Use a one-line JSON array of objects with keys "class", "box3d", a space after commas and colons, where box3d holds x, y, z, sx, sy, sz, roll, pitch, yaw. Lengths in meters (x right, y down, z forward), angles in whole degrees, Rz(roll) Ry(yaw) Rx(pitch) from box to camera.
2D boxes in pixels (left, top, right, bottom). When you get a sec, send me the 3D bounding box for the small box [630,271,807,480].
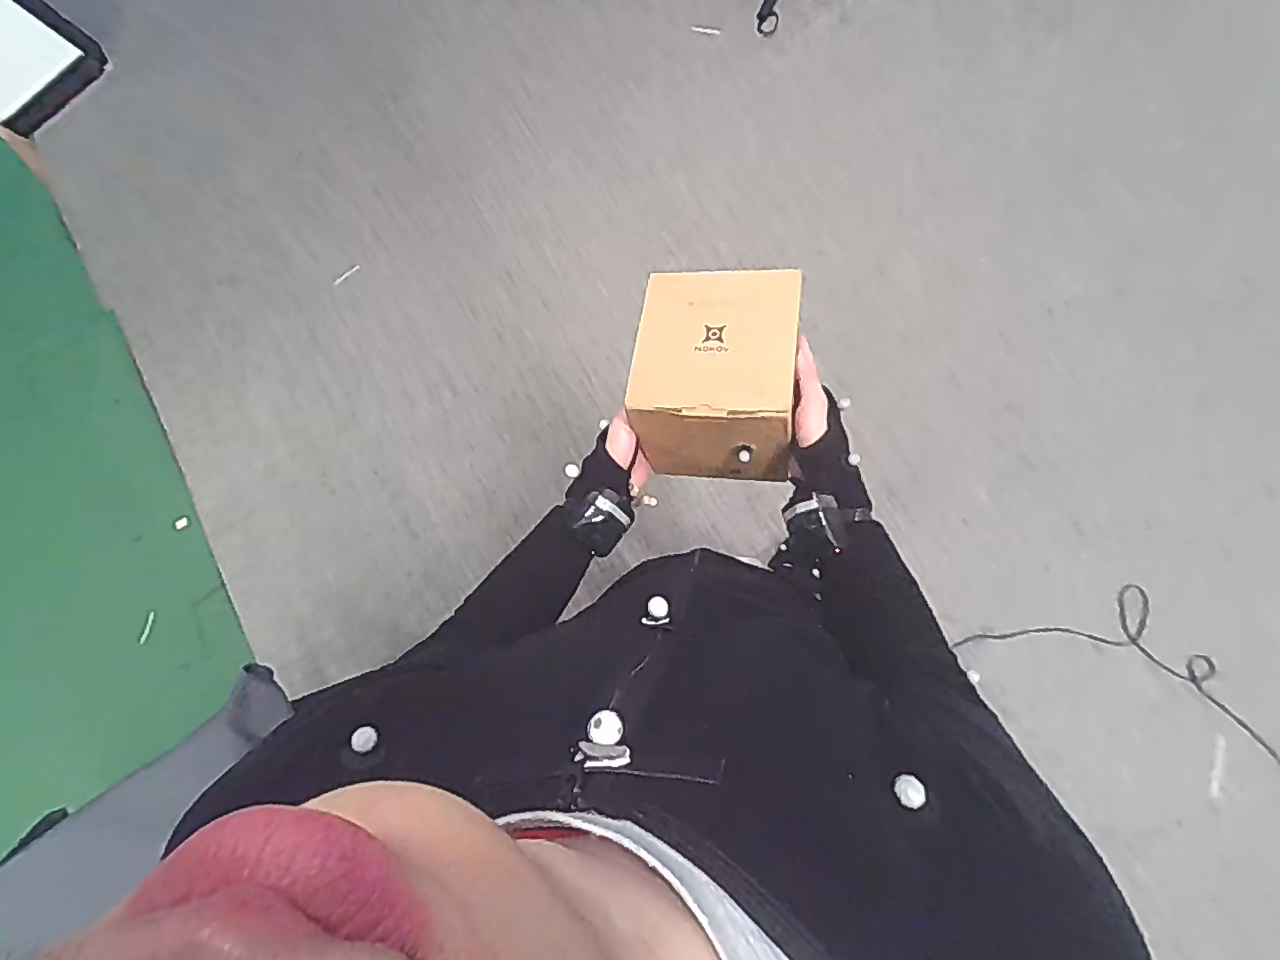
[{"class": "small box", "box3d": [0.098, -0.112, 0.623, 0.168, 0.176, 0.179, 5, 67, 14]}]
